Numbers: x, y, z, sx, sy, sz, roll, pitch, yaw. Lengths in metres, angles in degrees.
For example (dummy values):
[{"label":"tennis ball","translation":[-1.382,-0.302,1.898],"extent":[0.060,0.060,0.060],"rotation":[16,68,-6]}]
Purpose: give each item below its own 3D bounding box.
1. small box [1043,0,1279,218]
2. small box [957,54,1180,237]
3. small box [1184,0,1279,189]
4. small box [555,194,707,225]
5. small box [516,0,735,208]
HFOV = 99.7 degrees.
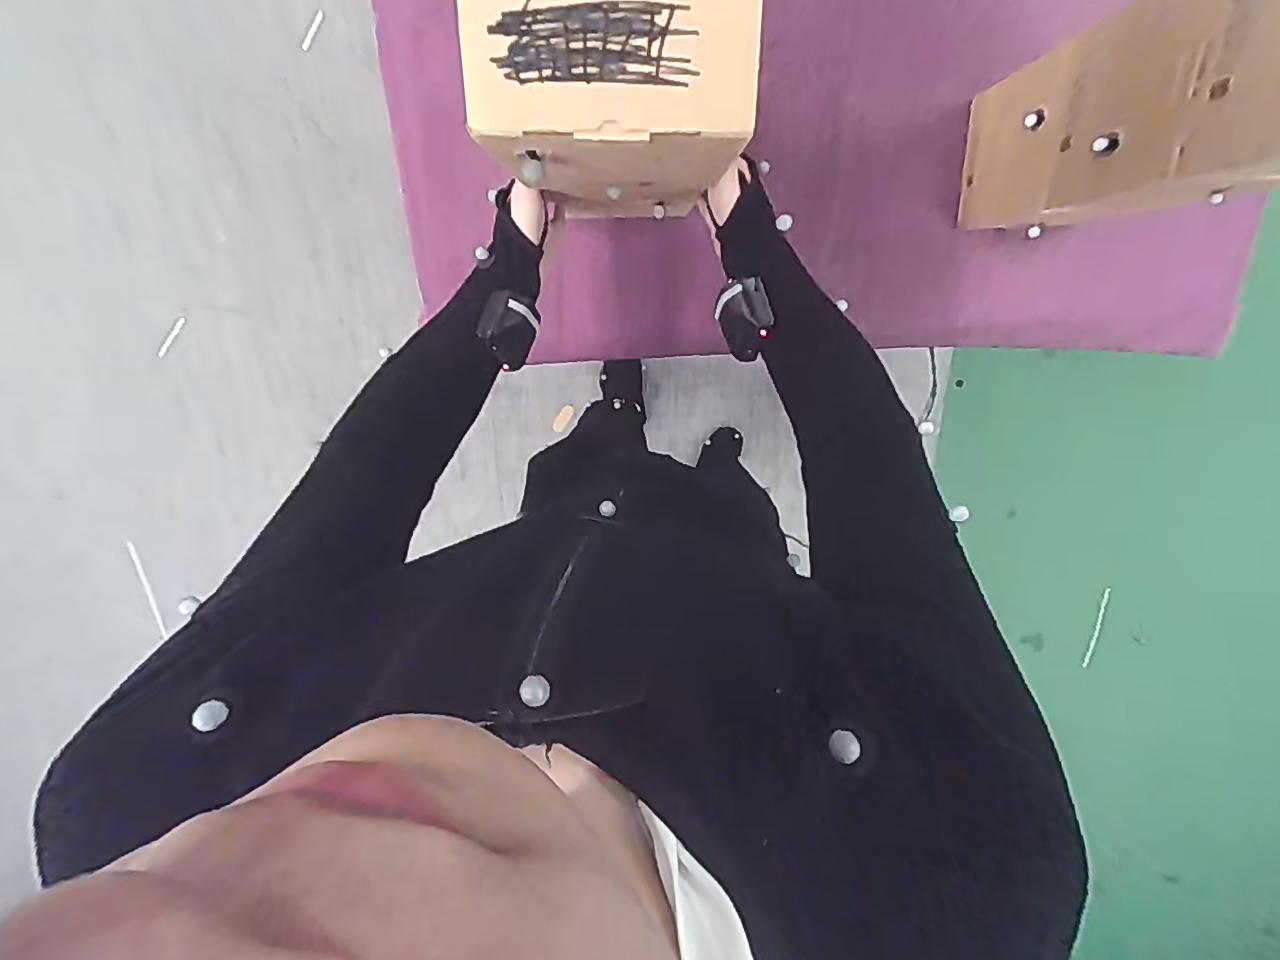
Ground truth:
[{"label":"small box","translation":[0.542,-0.355,0.523],"extent":[0.179,0.176,0.168],"rotation":[-1,109,0]},{"label":"small box","translation":[0.540,-0.405,0.678],"extent":[0.179,0.176,0.168],"rotation":[-3,108,0]},{"label":"small box","translation":[0.546,-0.304,0.367],"extent":[0.179,0.176,0.168],"rotation":[-2,110,0]},{"label":"small box","translation":[-0.013,-0.417,0.669],"extent":[0.179,0.176,0.168],"rotation":[-1,108,0]},{"label":"small box","translation":[-0.012,-0.363,0.517],"extent":[0.179,0.176,0.168],"rotation":[-1,109,0]}]
